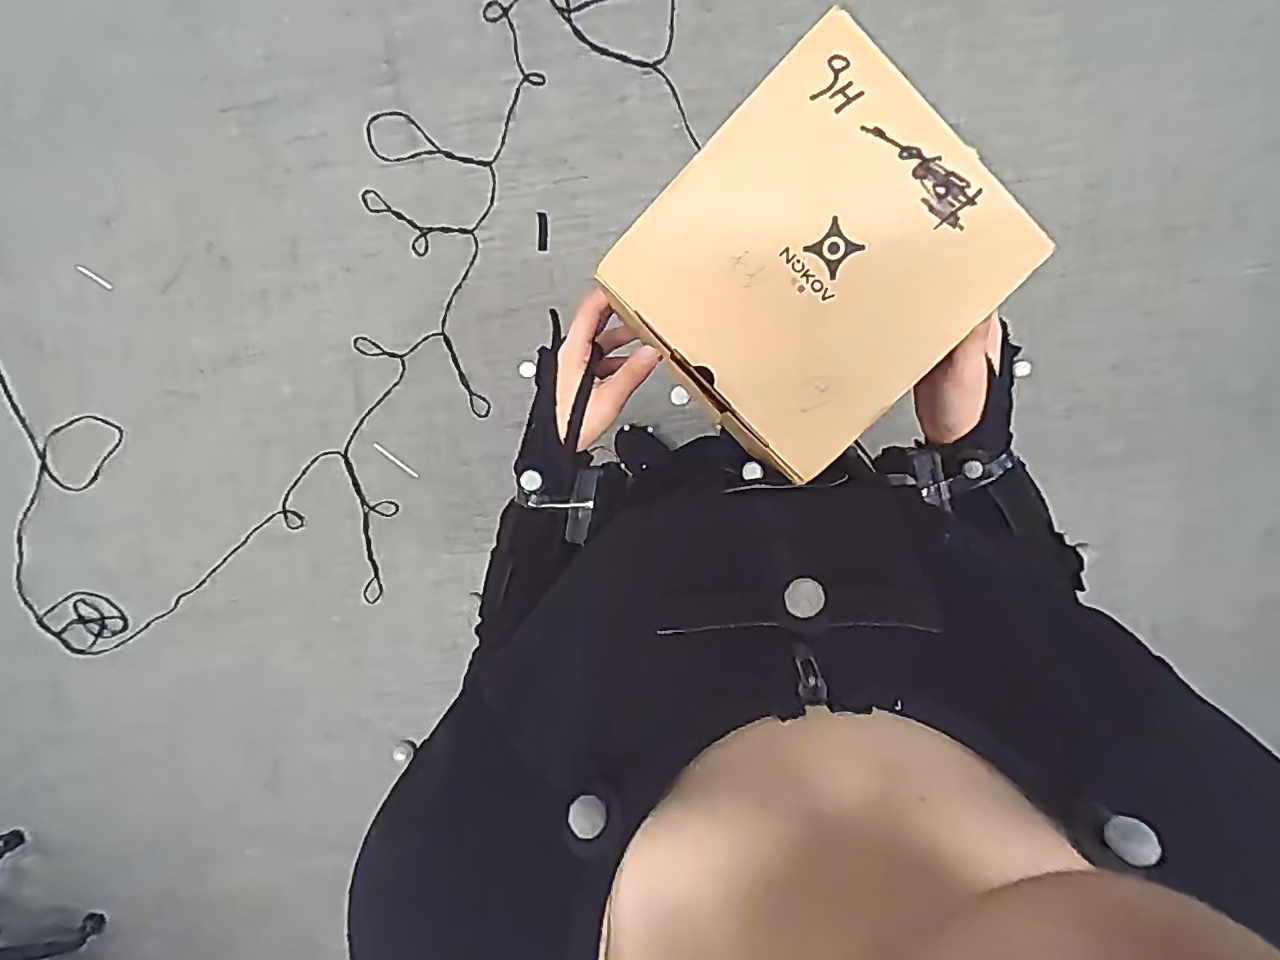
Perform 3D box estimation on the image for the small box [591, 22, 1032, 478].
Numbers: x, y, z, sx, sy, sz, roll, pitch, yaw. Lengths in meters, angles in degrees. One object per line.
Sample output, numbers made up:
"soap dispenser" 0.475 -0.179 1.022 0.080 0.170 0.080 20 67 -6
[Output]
"small box" 0.094 -0.127 0.368 0.168 0.176 0.179 44 99 -4
